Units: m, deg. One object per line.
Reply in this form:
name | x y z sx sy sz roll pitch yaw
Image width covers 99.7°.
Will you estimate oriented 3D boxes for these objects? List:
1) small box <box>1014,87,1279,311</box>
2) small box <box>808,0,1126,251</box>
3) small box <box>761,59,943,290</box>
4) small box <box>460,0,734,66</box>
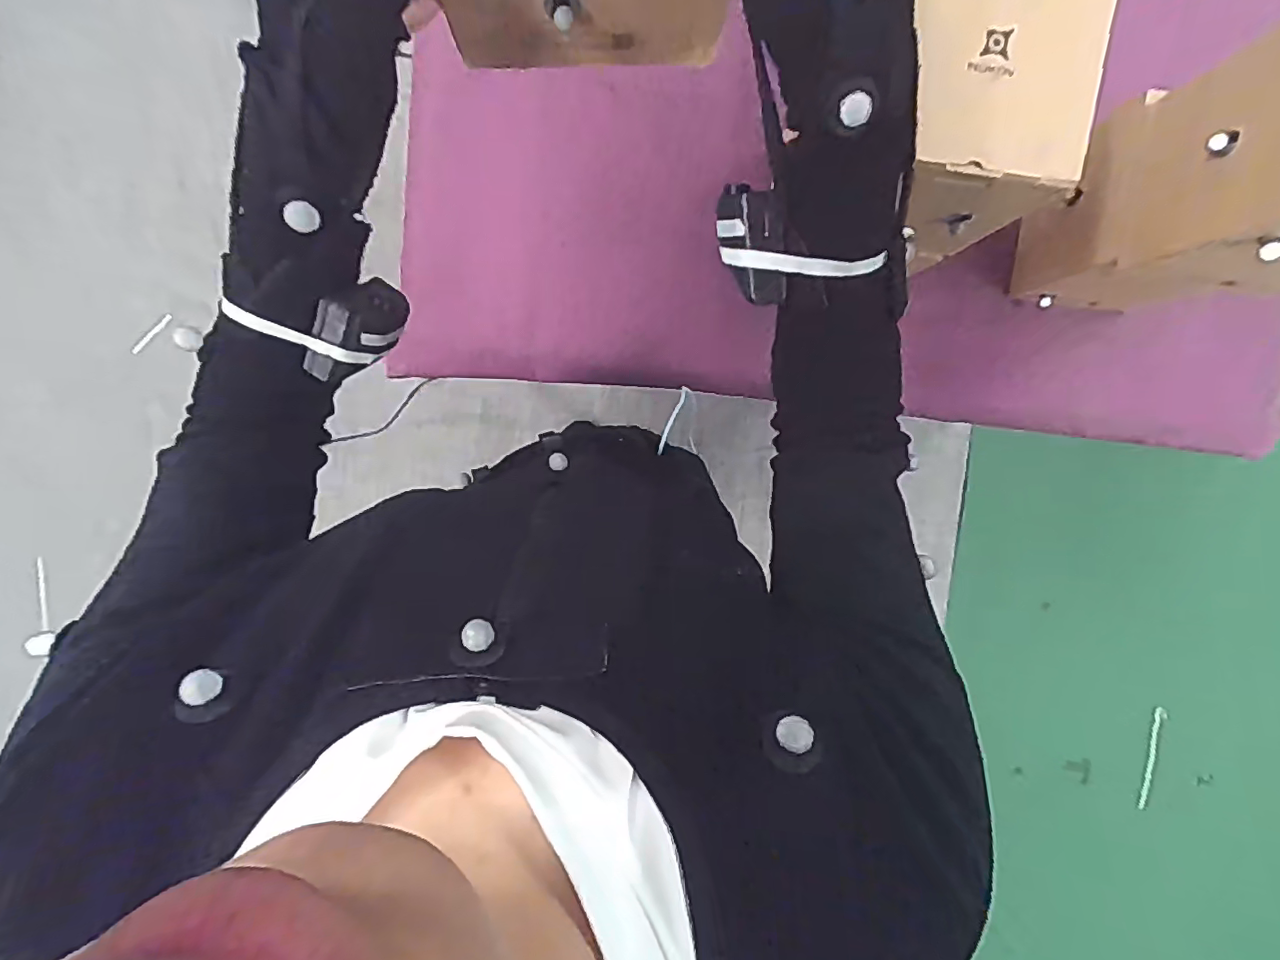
small box | 0.591 -0.311 0.642 0.168 0.176 0.179 9 97 -4
small box | 0.260 -0.319 0.472 0.168 0.176 0.179 8 96 -2
small box | 0.250 -0.337 0.635 0.168 0.176 0.179 9 97 -3
small box | -0.027 -0.348 0.262 0.168 0.176 0.179 -3 99 -2
